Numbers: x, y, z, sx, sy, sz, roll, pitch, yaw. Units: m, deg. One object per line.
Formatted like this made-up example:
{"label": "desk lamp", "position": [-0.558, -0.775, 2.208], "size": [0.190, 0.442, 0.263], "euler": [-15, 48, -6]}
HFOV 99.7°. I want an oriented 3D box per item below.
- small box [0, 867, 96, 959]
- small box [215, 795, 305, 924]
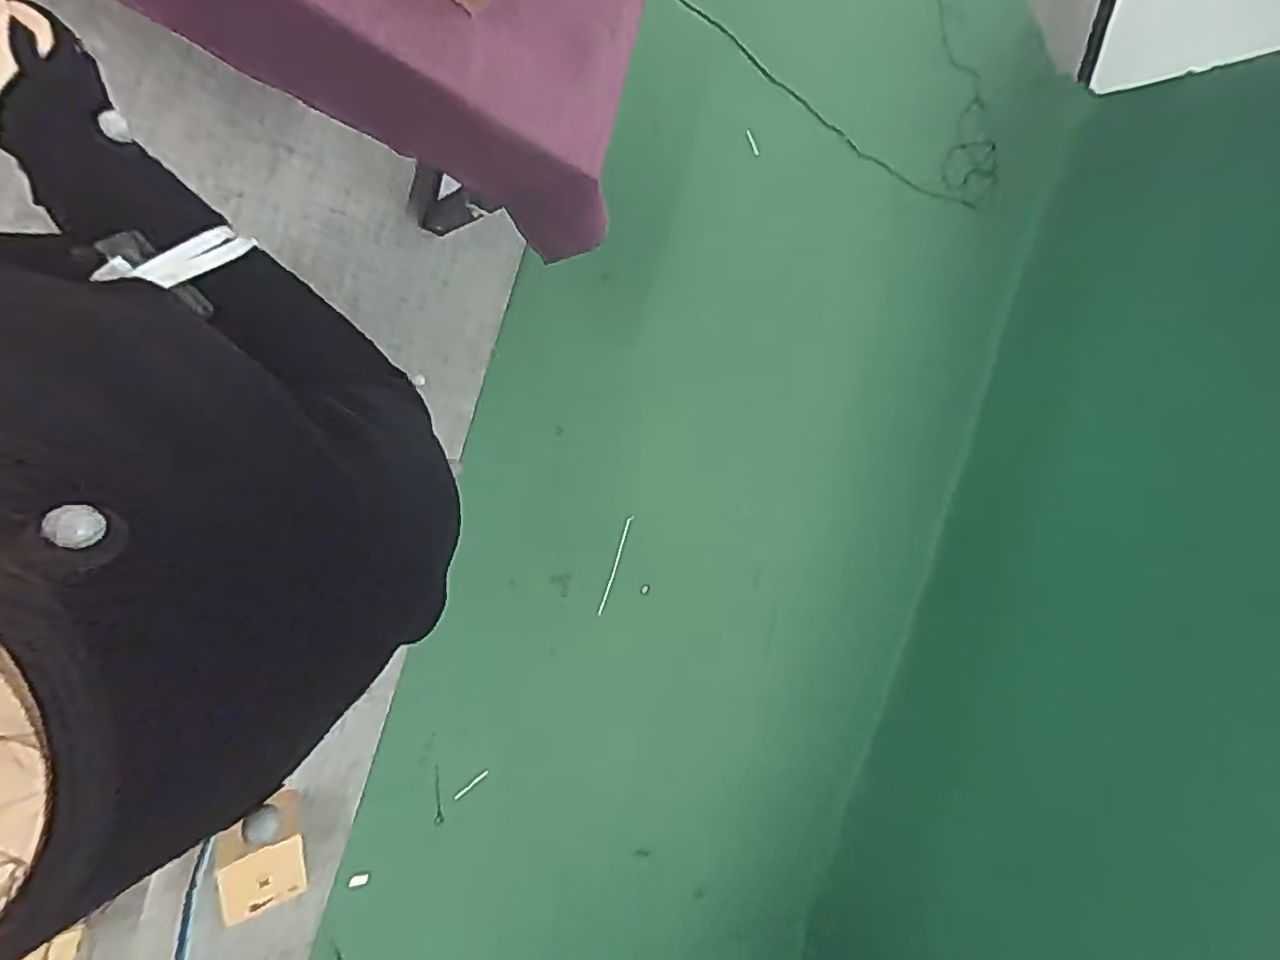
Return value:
{"label": "small box", "position": [-1.261, 0.942, 1.102], "size": [0.179, 0.176, 0.168], "euler": [13, 95, -39]}
{"label": "small box", "position": [-0.945, 0.925, 1.345], "size": [0.168, 0.176, 0.179], "euler": [-7, 106, -37]}
